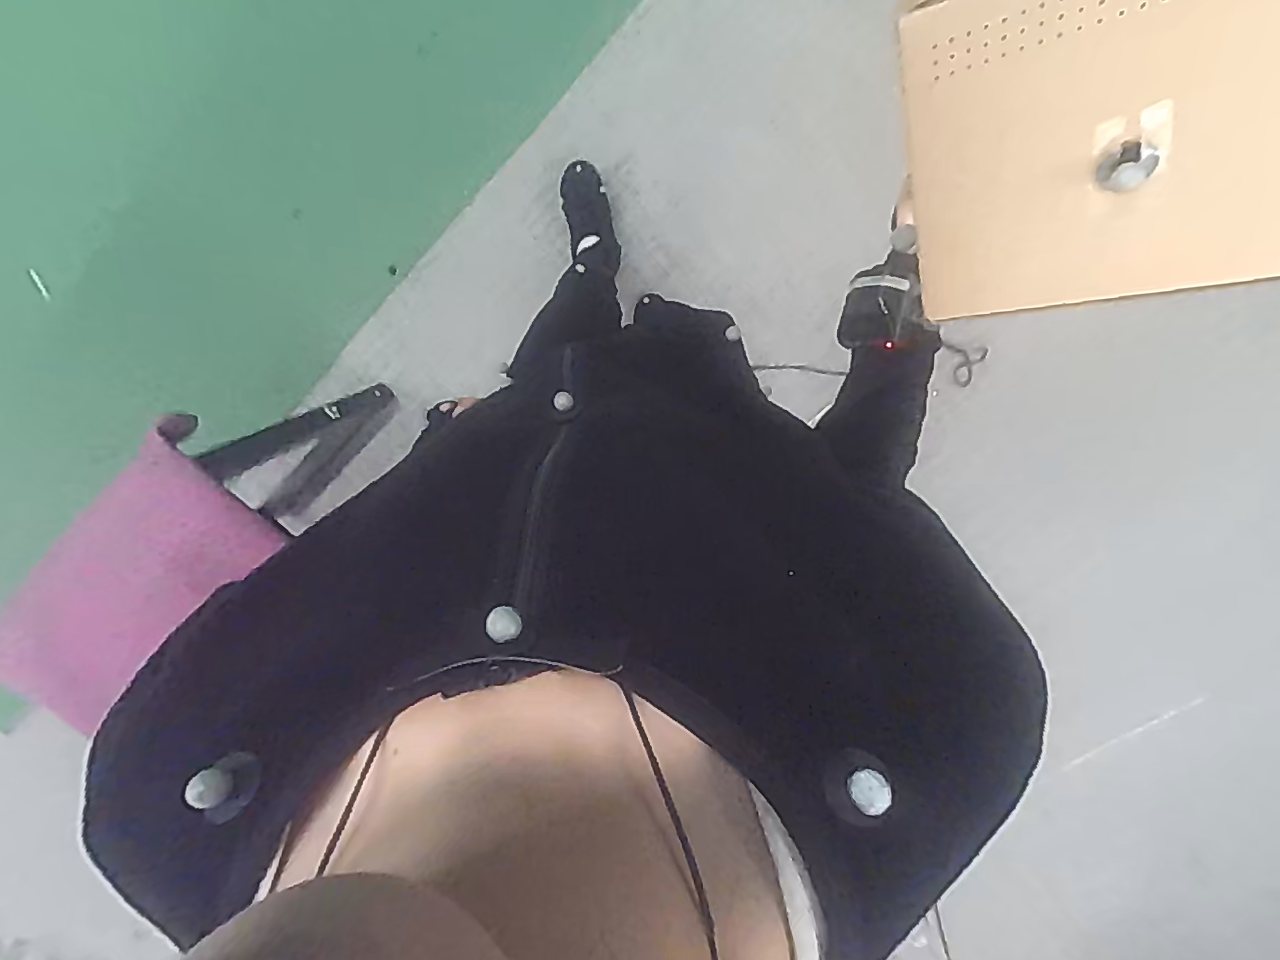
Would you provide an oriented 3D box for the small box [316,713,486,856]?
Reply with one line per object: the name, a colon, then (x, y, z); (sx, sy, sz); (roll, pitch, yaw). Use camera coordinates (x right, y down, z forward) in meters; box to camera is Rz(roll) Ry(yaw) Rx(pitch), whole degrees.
small box: (-0.397, 0.545, 0.931); (0.179, 0.176, 0.168); (-38, 105, 17)
